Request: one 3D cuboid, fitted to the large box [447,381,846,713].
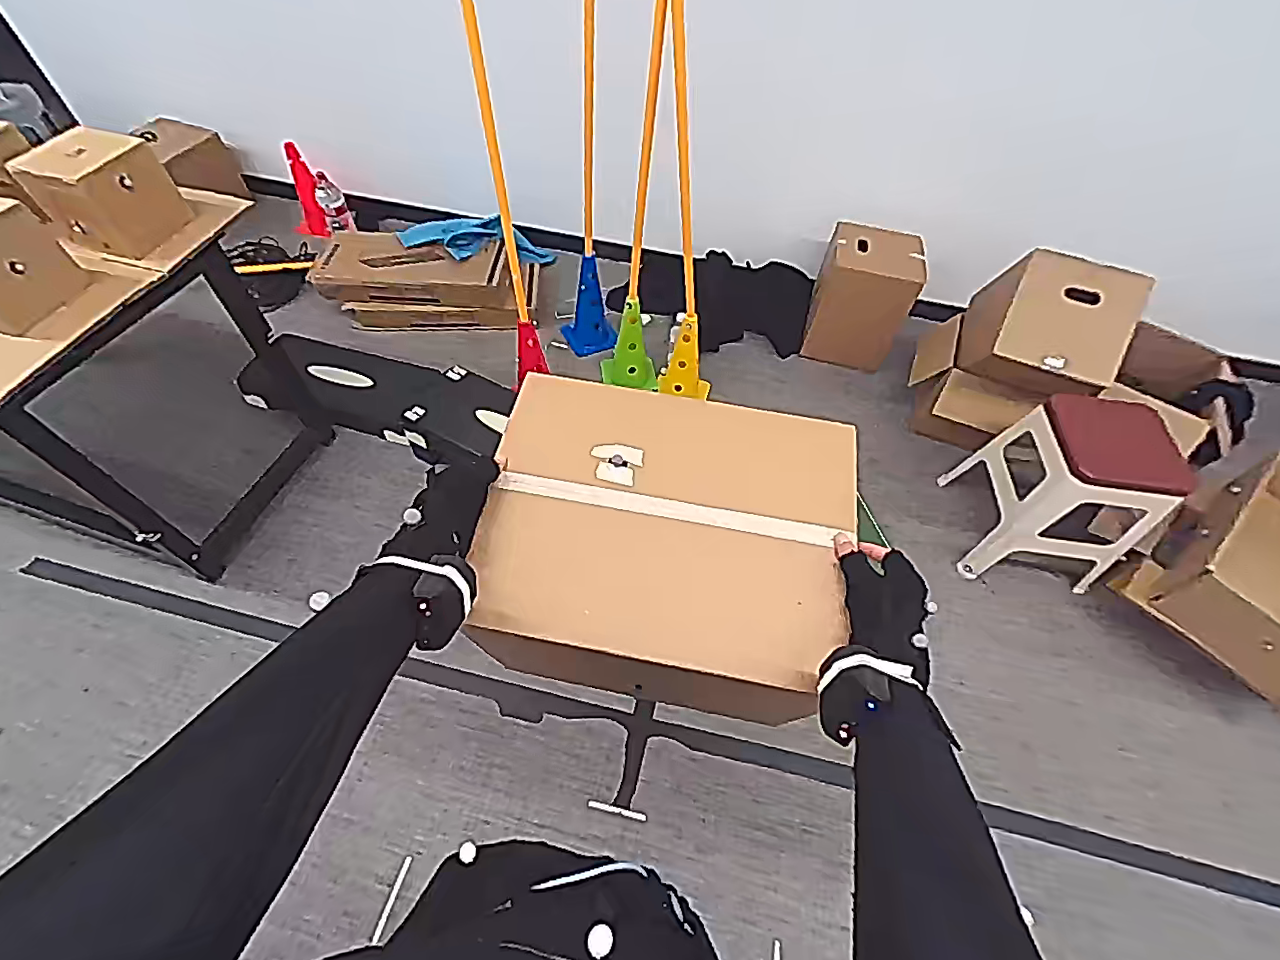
[{"bbox_3d":[0.028,0.106,0.729,0.408,0.320,0.320,10,61,5],"label":"large box"}]
